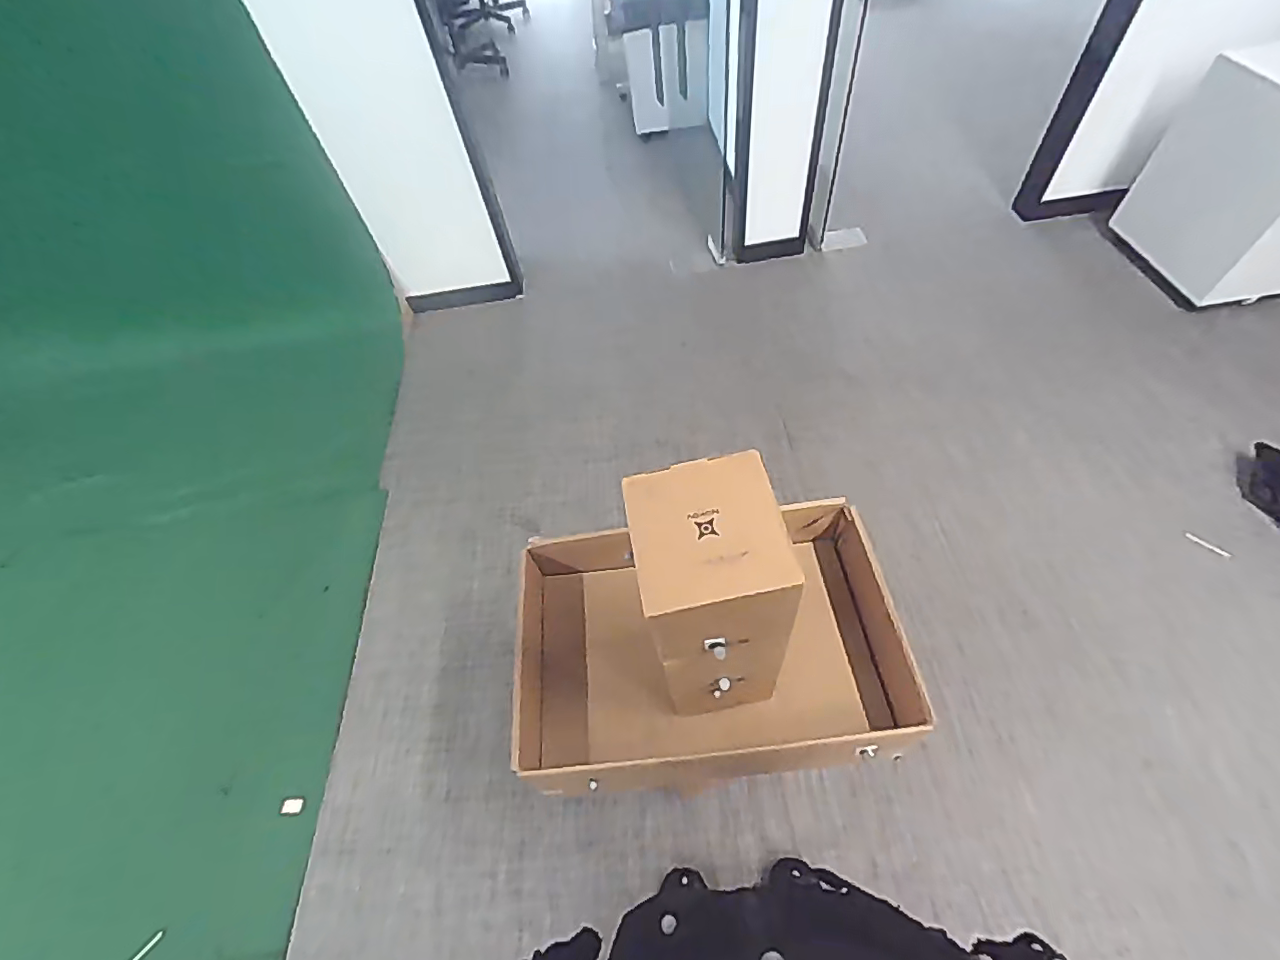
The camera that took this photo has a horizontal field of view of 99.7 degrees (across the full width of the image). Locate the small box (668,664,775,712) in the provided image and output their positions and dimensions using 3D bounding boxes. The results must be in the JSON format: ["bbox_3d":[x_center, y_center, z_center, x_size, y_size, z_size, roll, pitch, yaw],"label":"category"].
[{"bbox_3d":[0.121,0.274,0.922,0.168,0.176,0.179,-13,54,1],"label":"small box"}]

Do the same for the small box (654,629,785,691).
[{"bbox_3d":[0.098,0.185,0.786,0.168,0.176,0.179,-12,55,1],"label":"small box"}]

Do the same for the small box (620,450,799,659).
[{"bbox_3d":[0.078,0.094,0.655,0.168,0.176,0.179,-13,55,1],"label":"small box"}]
